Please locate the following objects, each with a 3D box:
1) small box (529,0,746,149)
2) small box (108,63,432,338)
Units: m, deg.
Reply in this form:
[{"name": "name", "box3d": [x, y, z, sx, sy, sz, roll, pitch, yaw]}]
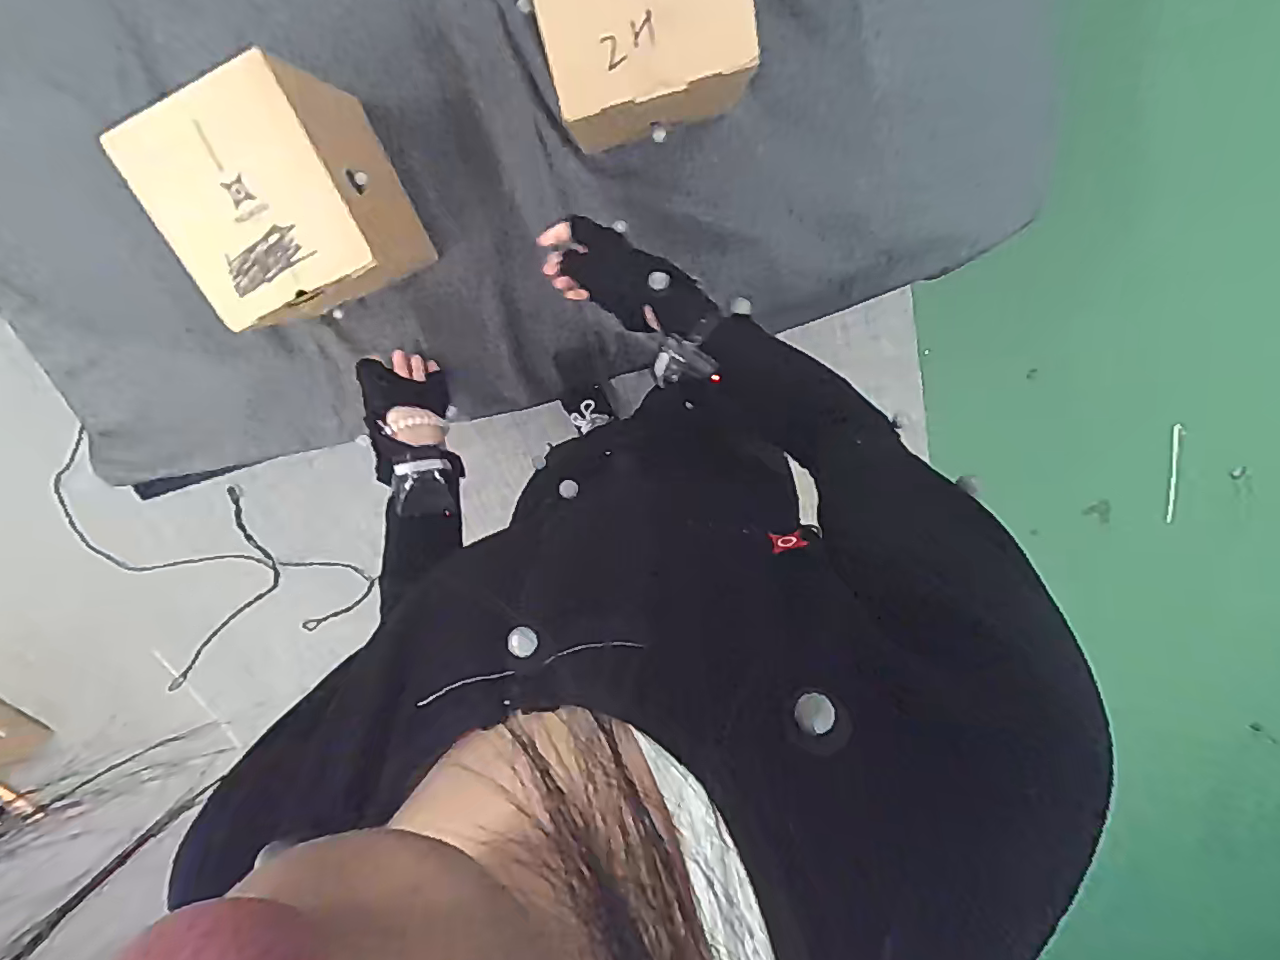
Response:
[{"name": "small box", "box3d": [-0.011, -0.422, 0.487, 0.168, 0.176, 0.179, -12, 117, 3]}, {"name": "small box", "box3d": [-0.345, -0.267, 0.550, 0.168, 0.176, 0.179, -21, 110, 8]}]
